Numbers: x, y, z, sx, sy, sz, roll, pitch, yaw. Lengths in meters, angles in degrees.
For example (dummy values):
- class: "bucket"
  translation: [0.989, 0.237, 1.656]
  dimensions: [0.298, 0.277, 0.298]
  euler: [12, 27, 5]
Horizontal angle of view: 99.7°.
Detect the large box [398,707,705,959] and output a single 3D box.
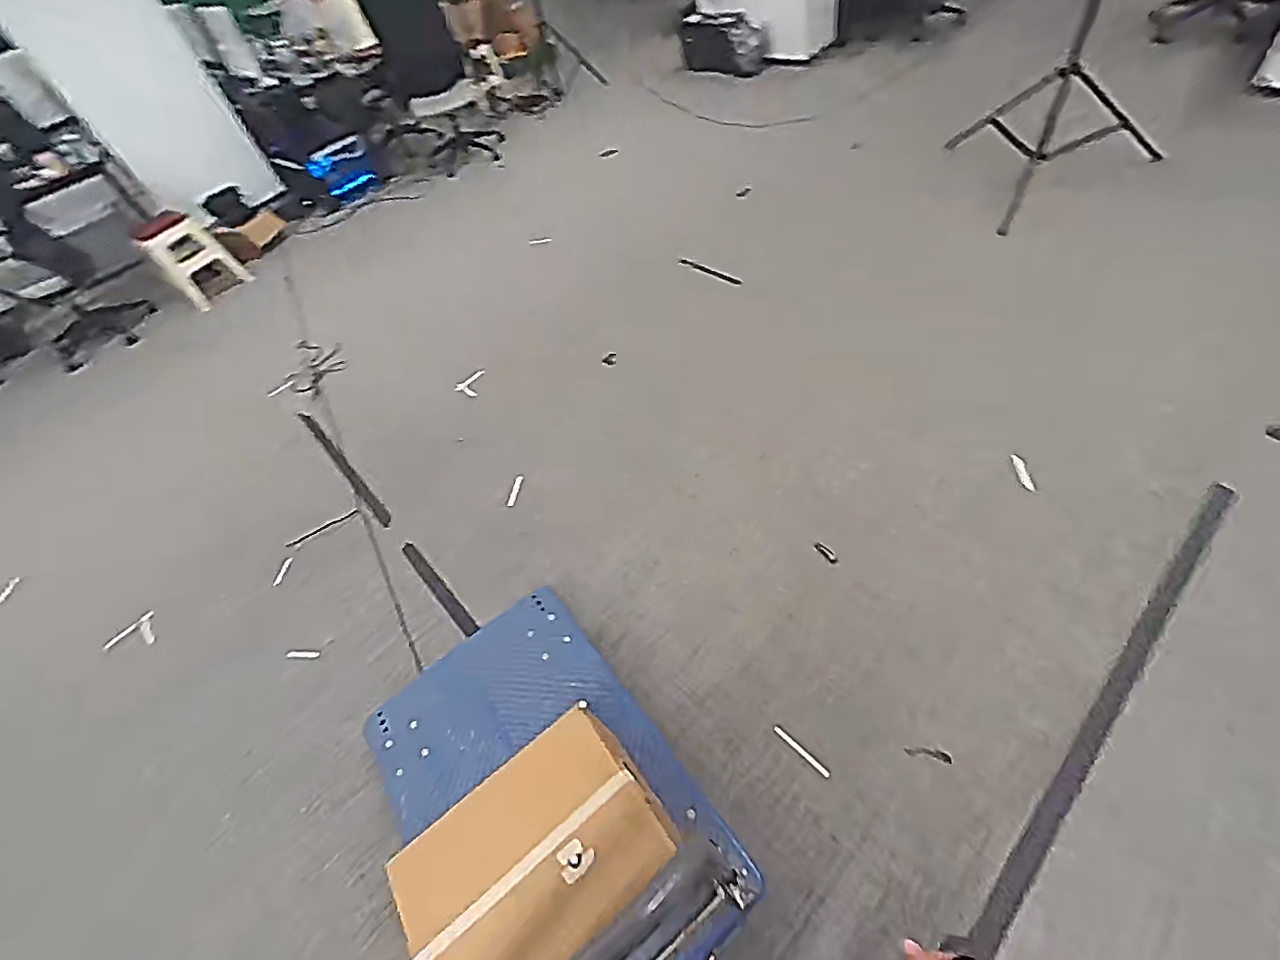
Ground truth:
- class: "large box"
  translation: [-0.139, 0.713, 0.985]
  dimensions: [0.408, 0.320, 0.320]
  euler: [-36, 53, -15]
